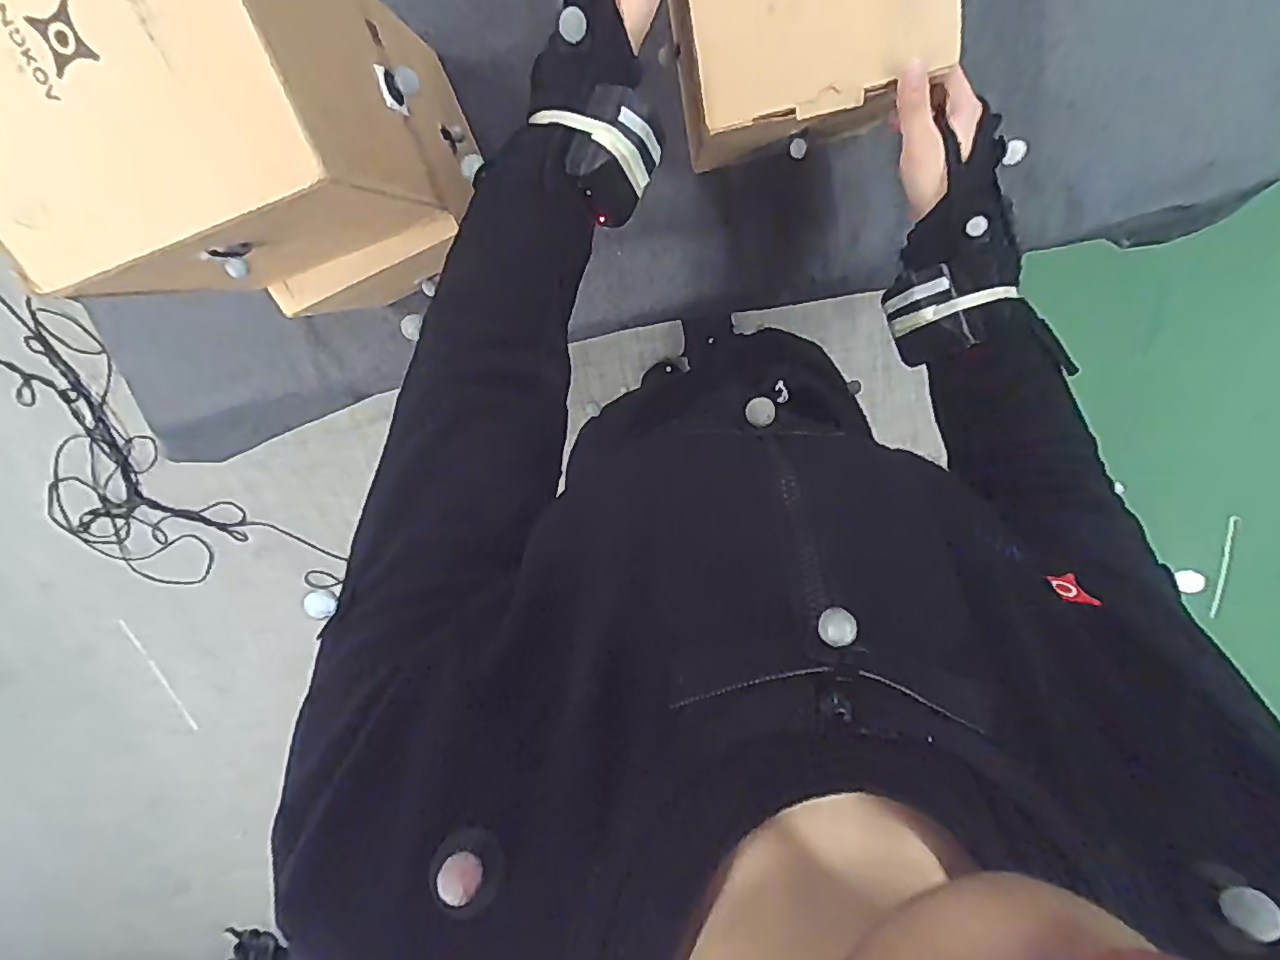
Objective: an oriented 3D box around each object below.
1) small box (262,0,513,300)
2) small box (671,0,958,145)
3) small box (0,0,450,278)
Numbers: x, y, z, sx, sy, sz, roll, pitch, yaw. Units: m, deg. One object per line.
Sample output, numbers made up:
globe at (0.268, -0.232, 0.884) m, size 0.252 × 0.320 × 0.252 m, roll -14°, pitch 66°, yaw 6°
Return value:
small box at (-0.232, -0.270, 0.456) m, size 0.168 × 0.176 × 0.179 m, roll -20°, pitch 110°, yaw 11°
small box at (0.110, -0.367, 0.397) m, size 0.168 × 0.176 × 0.179 m, roll -11°, pitch 112°, yaw 7°
small box at (-0.240, -0.223, 0.300) m, size 0.179 × 0.176 × 0.168 m, roll -16°, pitch 112°, yaw 9°
